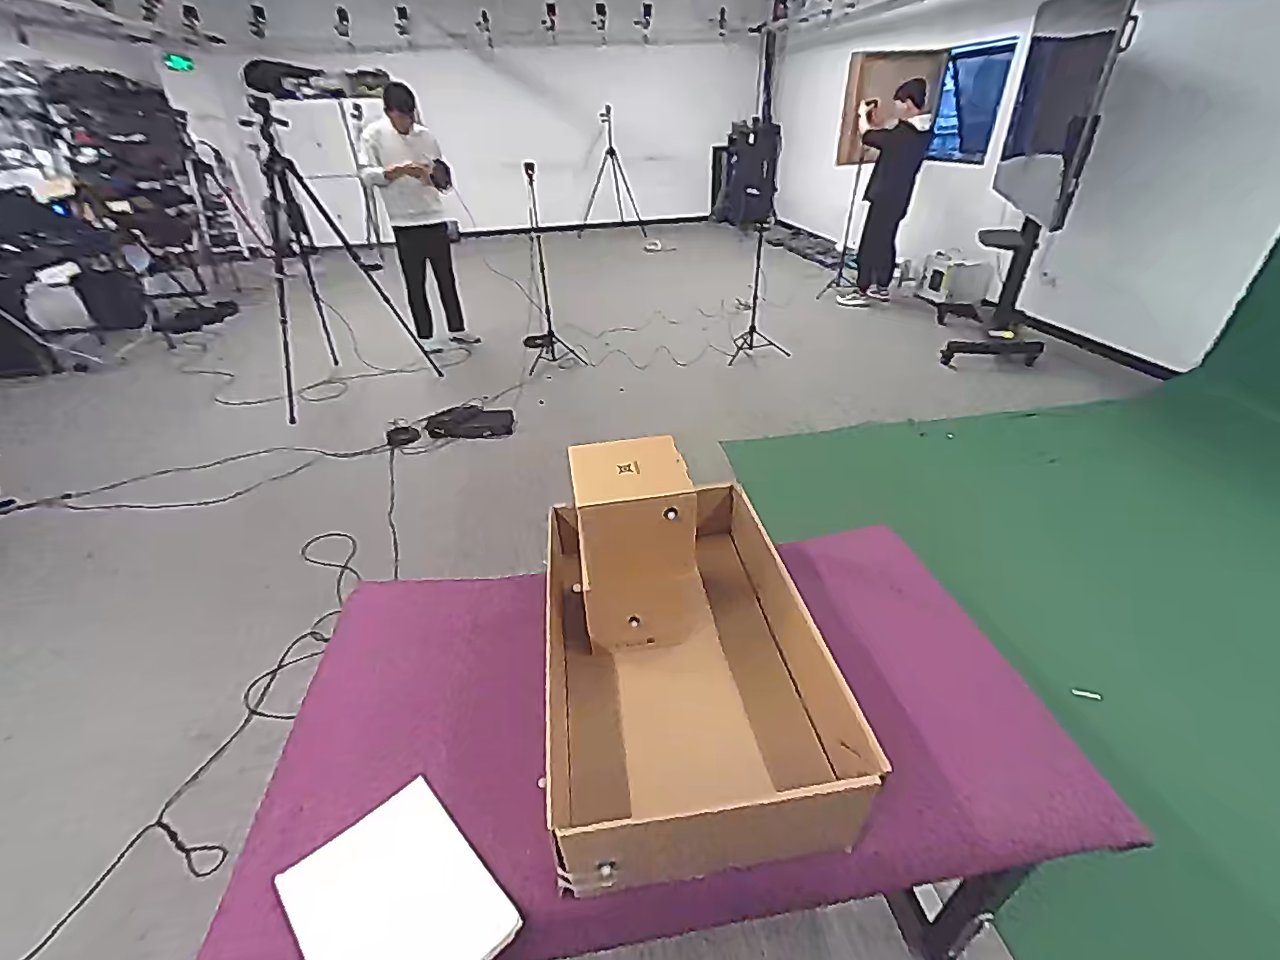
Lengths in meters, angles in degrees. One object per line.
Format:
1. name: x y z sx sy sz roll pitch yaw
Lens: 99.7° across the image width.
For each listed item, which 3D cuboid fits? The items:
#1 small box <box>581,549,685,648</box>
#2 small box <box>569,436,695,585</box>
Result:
1. small box: -0.014 0.181 0.964 0.168 0.176 0.179 -6 35 -5
2. small box: -0.014 0.050 0.870 0.179 0.176 0.168 -7 35 -7
